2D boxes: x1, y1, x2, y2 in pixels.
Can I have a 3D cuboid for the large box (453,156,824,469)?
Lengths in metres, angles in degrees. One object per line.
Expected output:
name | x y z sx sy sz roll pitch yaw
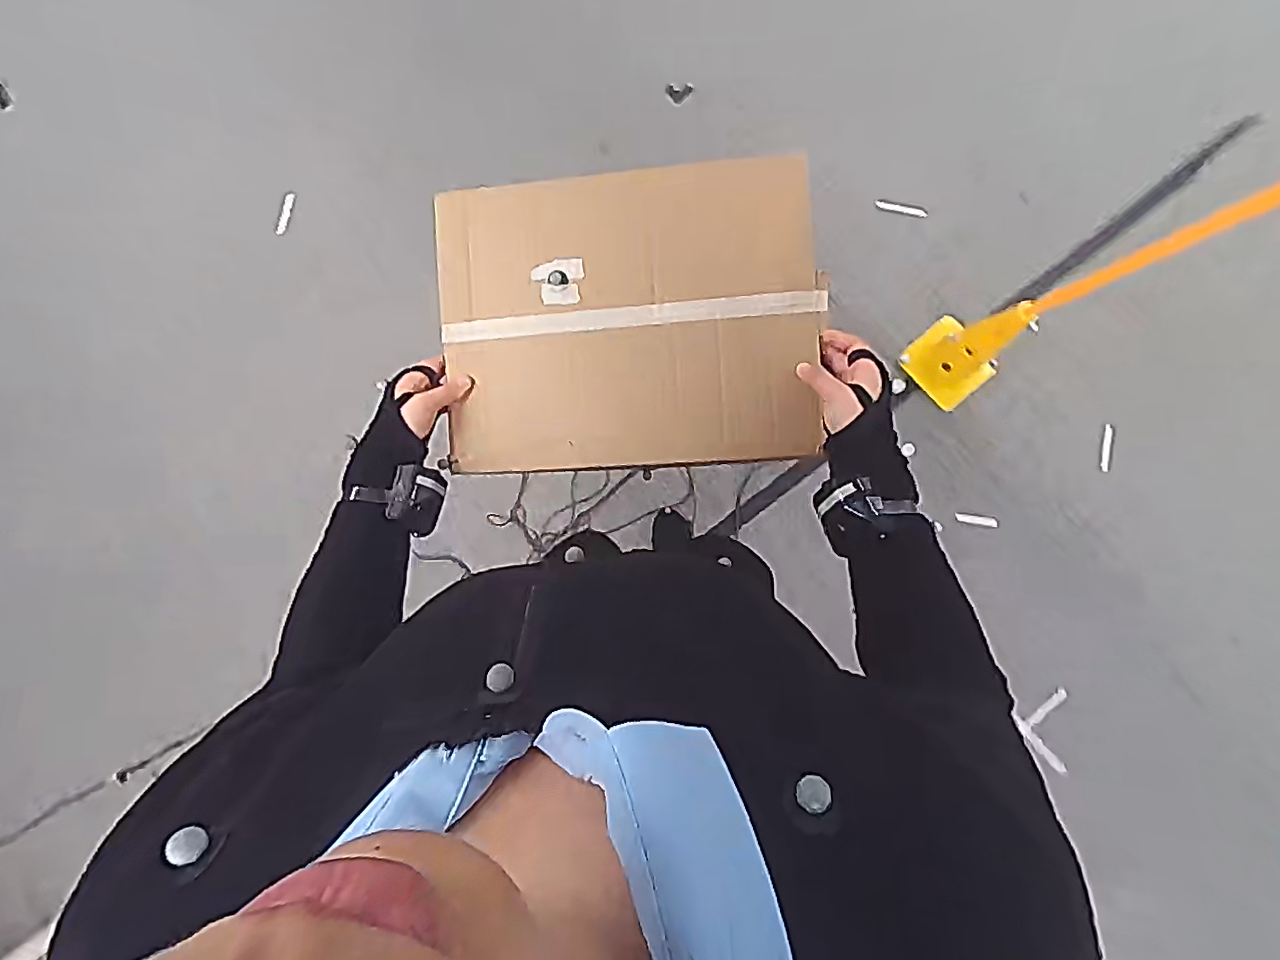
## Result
large box | 0.011 -0.178 0.733 0.408 0.320 0.320 -2 90 8
